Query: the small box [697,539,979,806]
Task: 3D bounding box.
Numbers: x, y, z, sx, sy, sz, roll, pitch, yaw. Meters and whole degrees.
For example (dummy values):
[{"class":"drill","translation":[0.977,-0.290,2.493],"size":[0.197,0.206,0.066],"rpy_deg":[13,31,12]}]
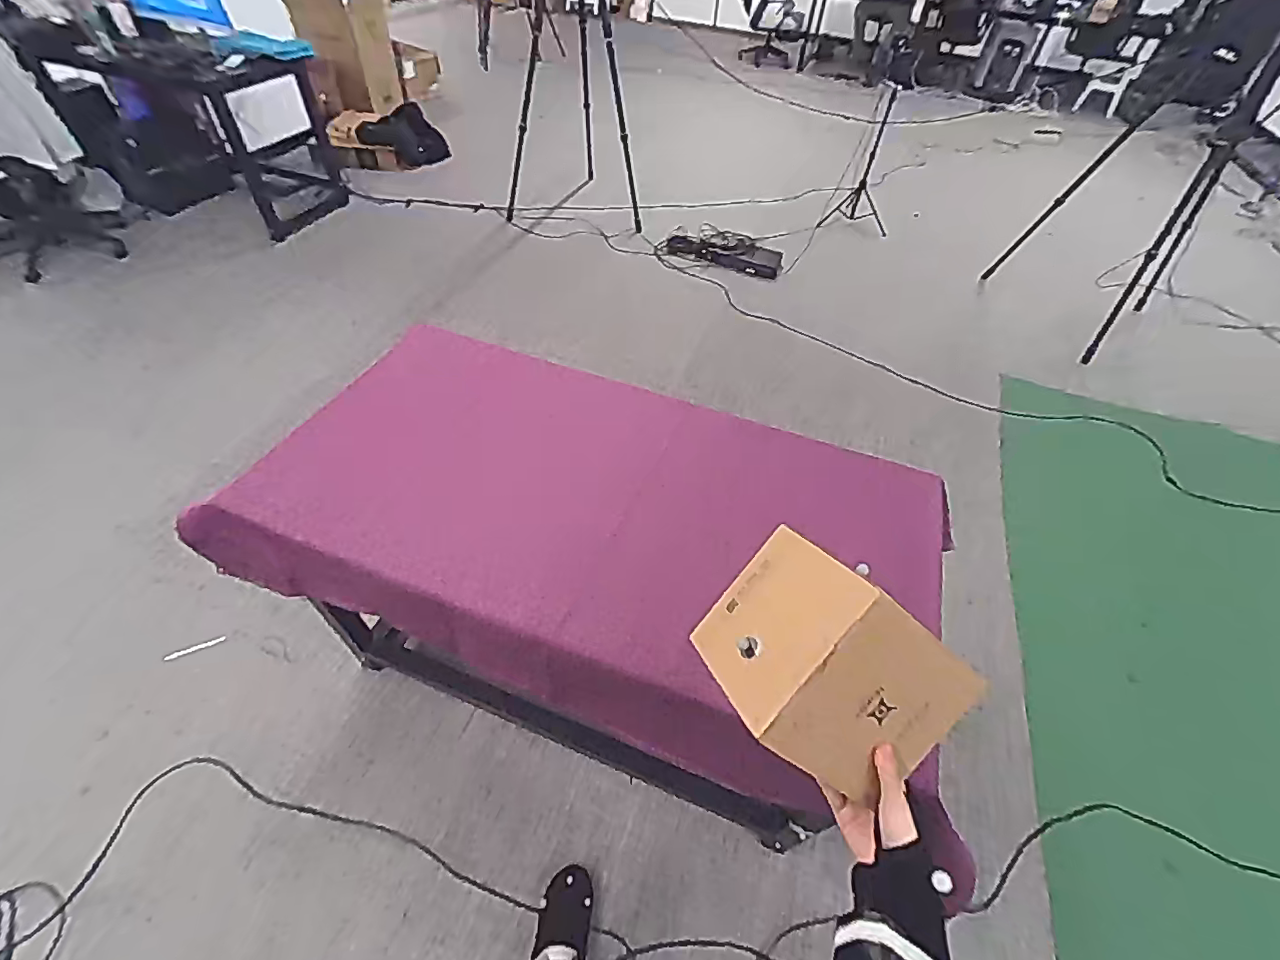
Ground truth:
[{"class":"small box","translation":[0.188,0.181,0.560],"size":[0.168,0.179,0.176],"rpy_deg":[-51,21,2]}]
